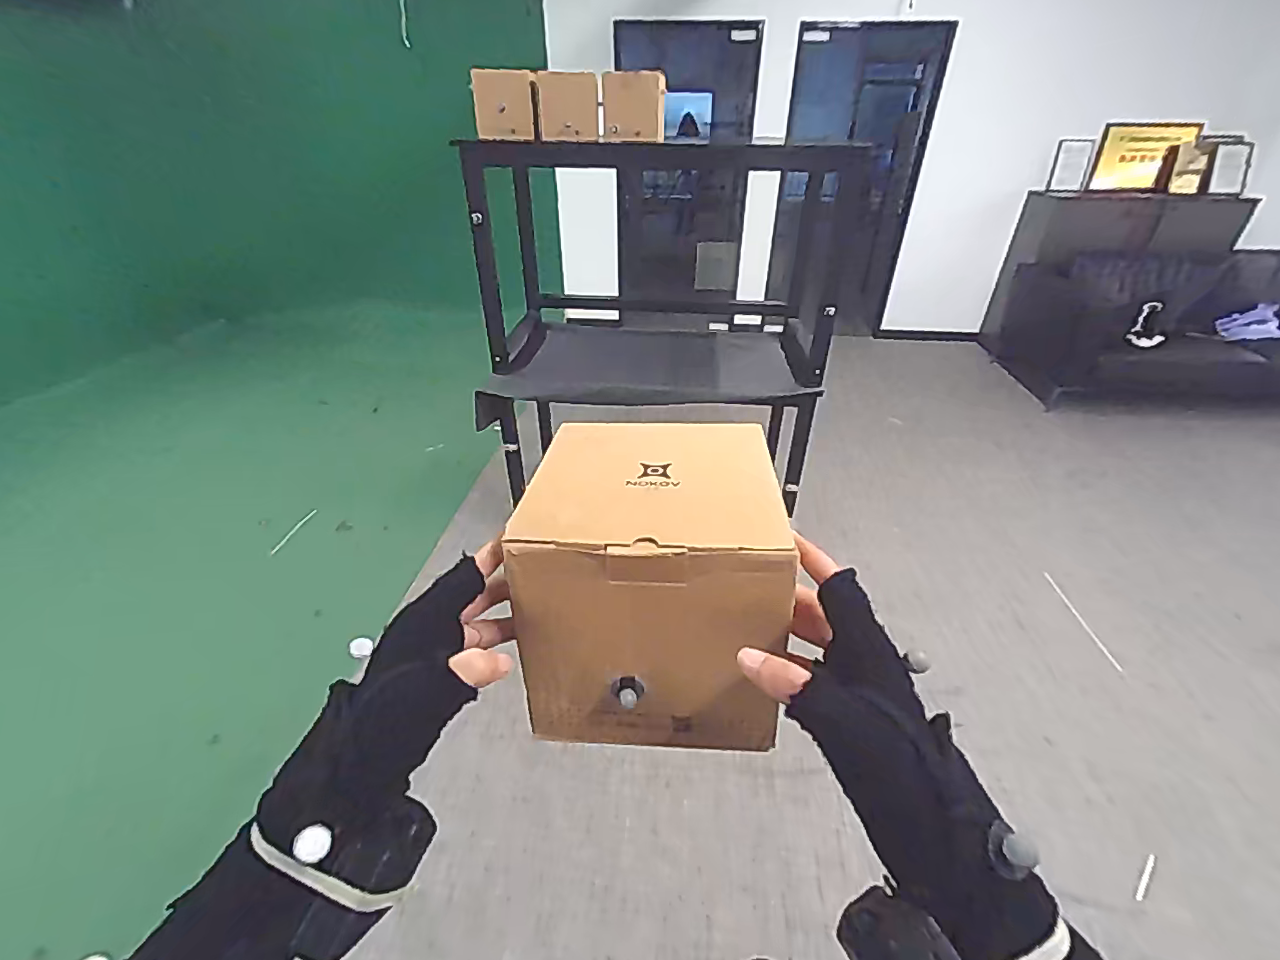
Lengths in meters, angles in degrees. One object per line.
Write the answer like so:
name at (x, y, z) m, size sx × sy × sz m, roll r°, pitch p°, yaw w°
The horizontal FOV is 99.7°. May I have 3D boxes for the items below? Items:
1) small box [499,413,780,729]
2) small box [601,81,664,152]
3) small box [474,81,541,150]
small box at (0.006, 0.057, 0.417) m, size 0.168 × 0.176 × 0.179 m, roll 1°, pitch 28°, yaw 5°
small box at (-0.018, -1.099, 1.641) m, size 0.168 × 0.176 × 0.179 m, roll 4°, pitch 32°, yaw 6°
small box at (-0.400, -1.114, 1.660) m, size 0.168 × 0.176 × 0.179 m, roll 1°, pitch 32°, yaw -3°
